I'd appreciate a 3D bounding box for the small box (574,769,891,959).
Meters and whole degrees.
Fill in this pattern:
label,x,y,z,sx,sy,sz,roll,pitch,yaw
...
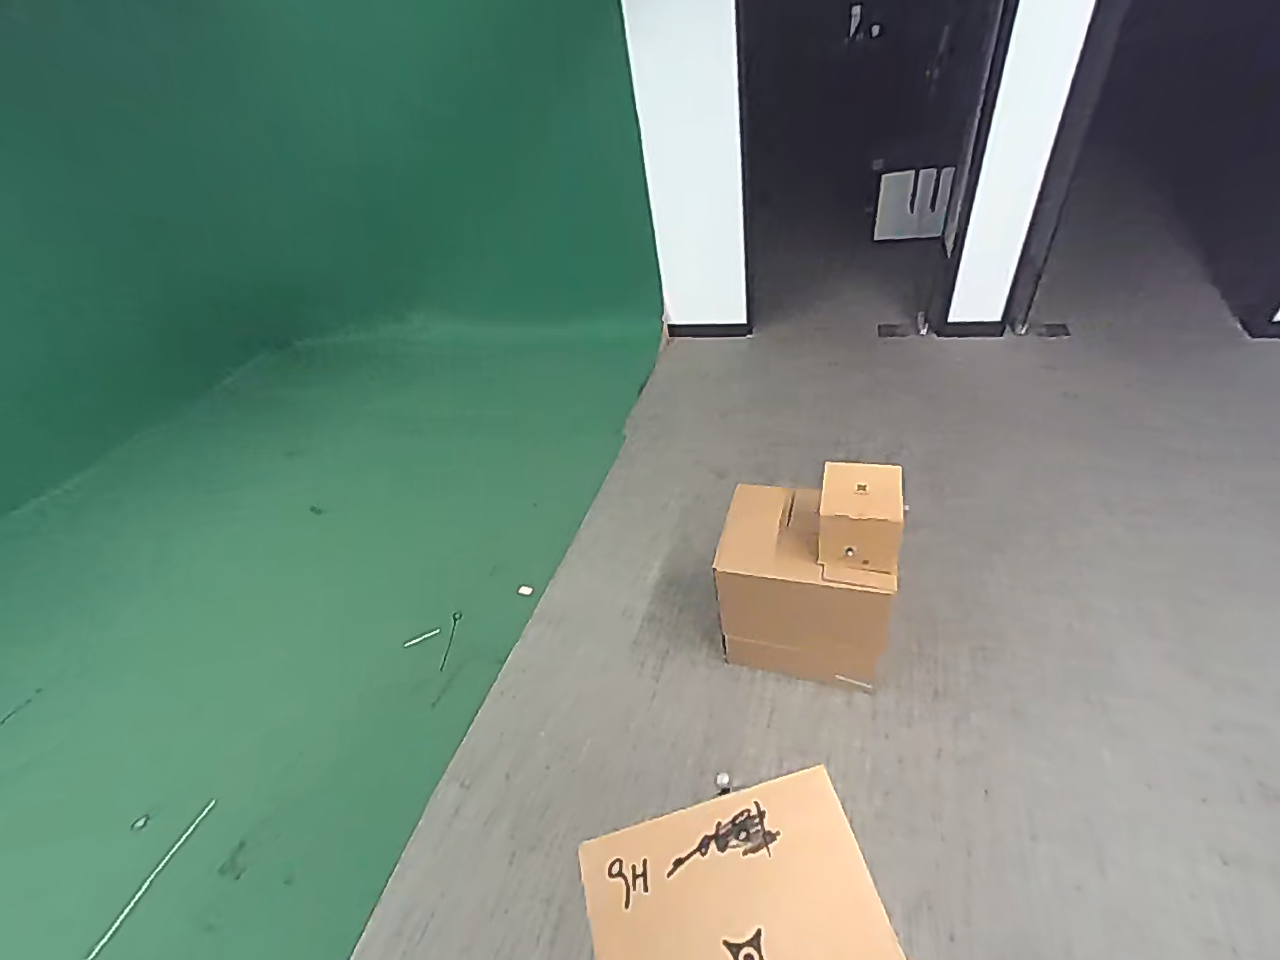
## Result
label,x,y,z,sx,sy,sz,roll,pitch,yaw
small box,0.067,0.314,0.364,0.168,0.176,0.179,-16,58,-1

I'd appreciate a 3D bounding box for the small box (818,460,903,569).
label,x,y,z,sx,sy,sz,roll,pitch,yaw
small box,0.500,0.076,1.236,0.168,0.176,0.179,4,44,20
